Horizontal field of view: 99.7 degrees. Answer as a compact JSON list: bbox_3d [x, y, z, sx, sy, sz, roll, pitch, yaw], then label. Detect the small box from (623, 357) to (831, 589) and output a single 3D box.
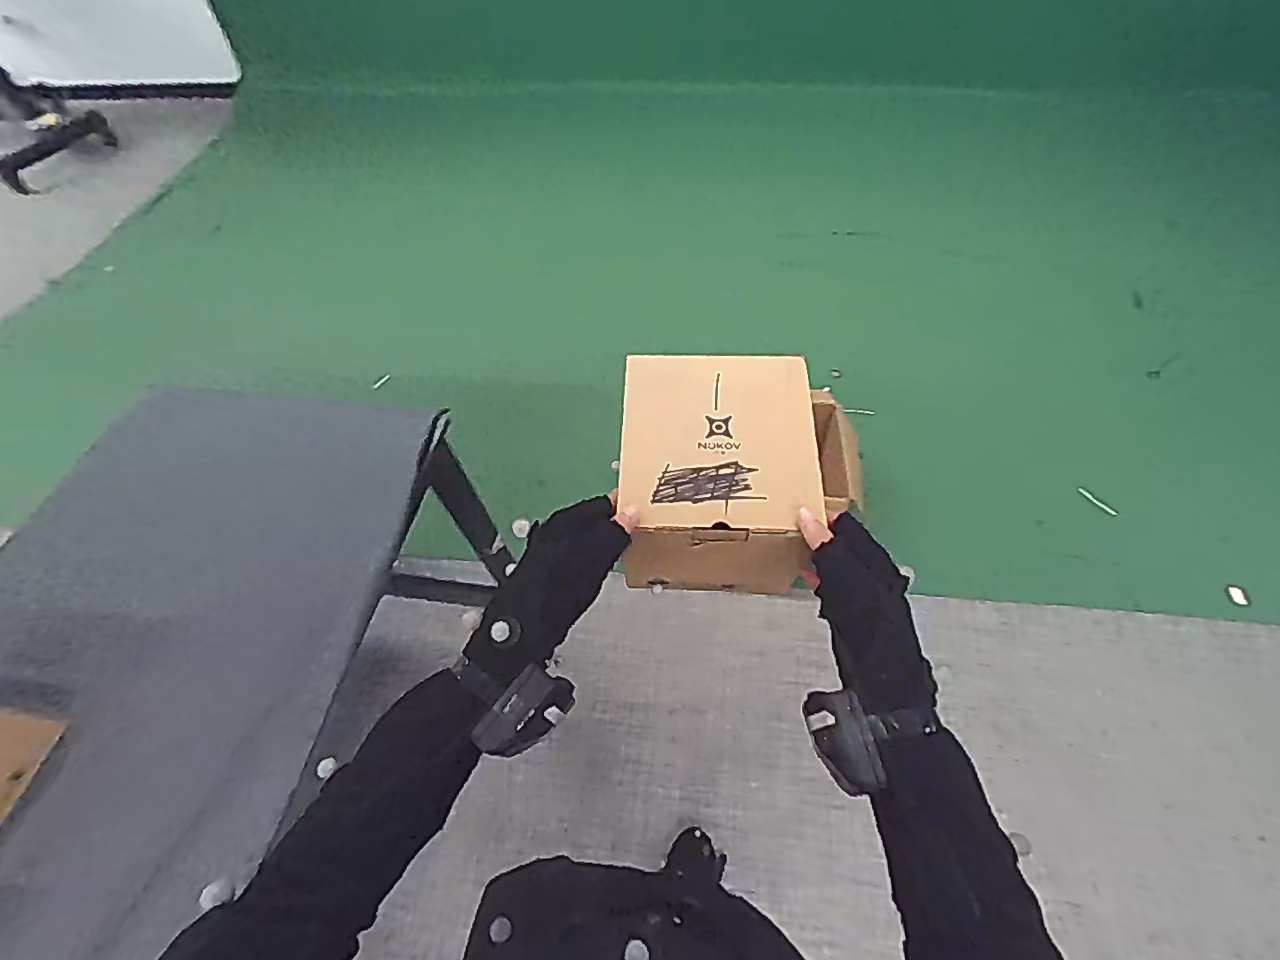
[{"bbox_3d":[0.076,0.001,0.530,0.168,0.176,0.179,1,62,3],"label":"small box"}]
